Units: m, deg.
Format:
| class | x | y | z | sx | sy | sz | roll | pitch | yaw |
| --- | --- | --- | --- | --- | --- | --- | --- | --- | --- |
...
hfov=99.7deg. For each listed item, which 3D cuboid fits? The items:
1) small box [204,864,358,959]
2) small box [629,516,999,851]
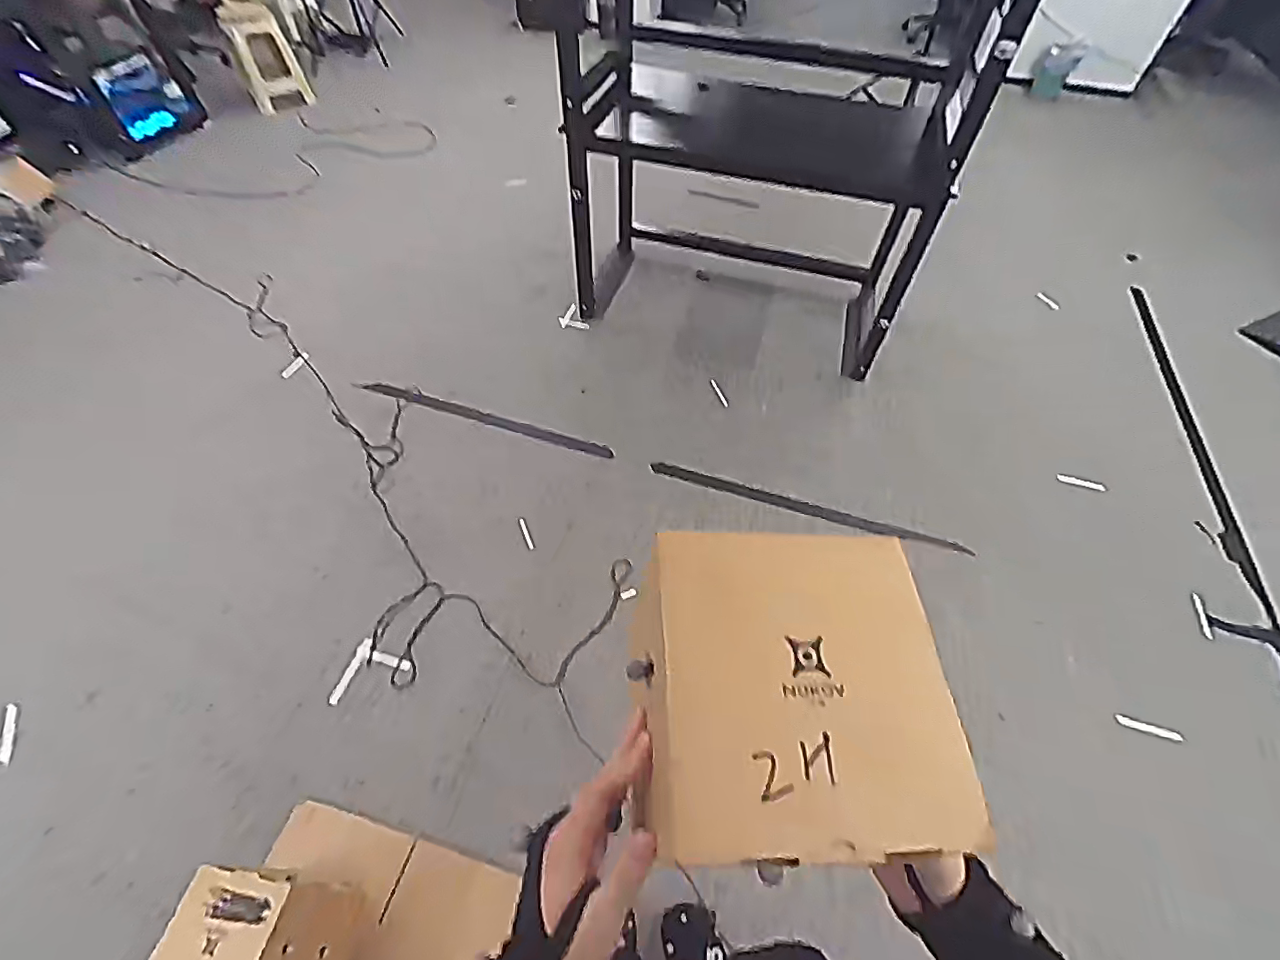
| class | x | y | z | sx | sy | sz | roll | pitch | yaw |
| --- | --- | --- | --- | --- | --- | --- | --- | --- | --- |
| small box | -0.677 | 0.863 | 1.039 | 0.168 | 0.176 | 0.179 | 11 | 55 | 6 |
| small box | 0.082 | 0.142 | 0.365 | 0.168 | 0.176 | 0.179 | 2 | 57 | -7 |
